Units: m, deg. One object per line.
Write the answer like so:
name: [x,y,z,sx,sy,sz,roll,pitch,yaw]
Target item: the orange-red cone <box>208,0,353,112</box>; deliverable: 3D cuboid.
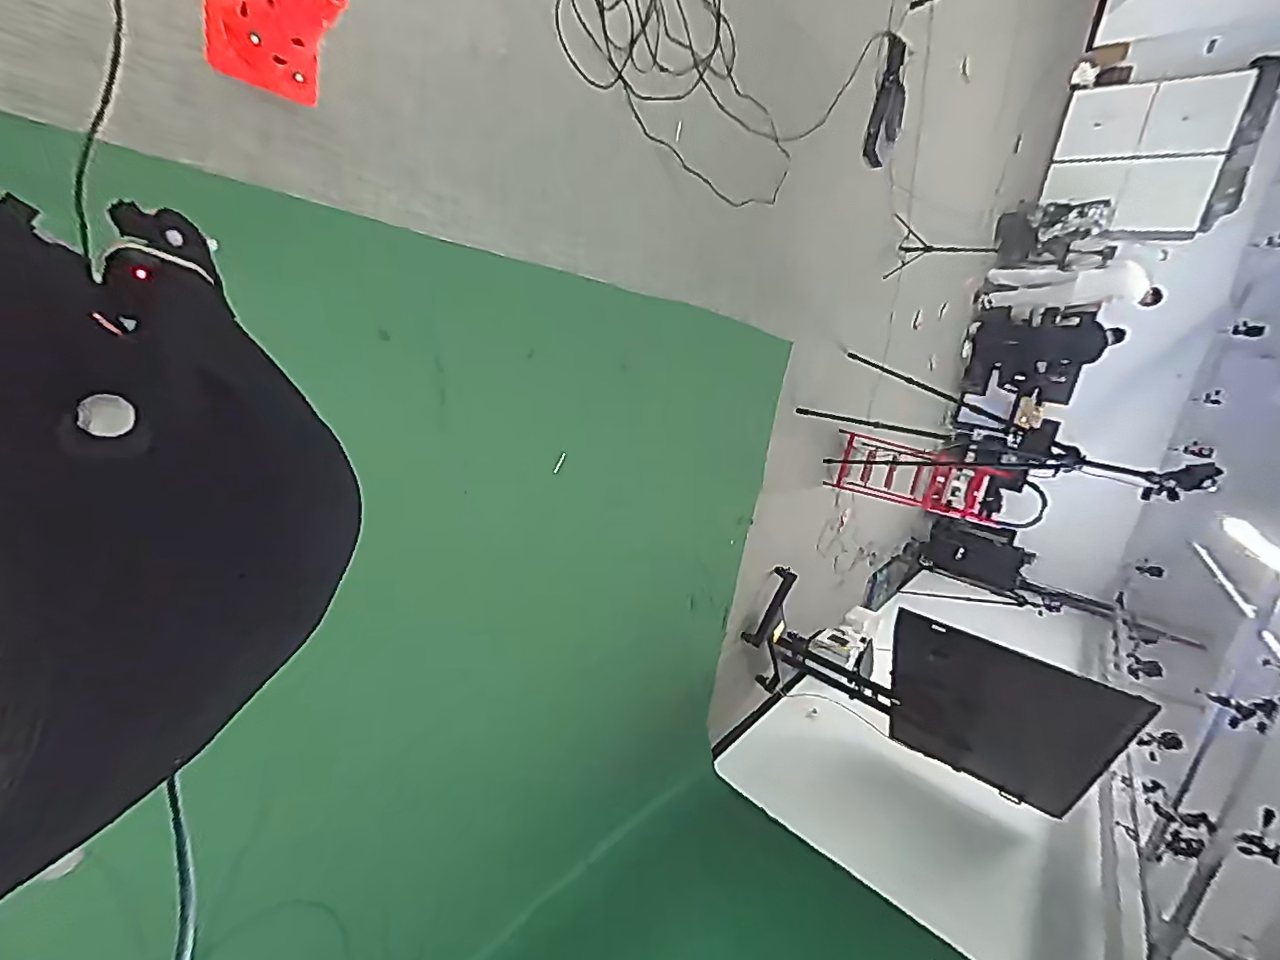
orange-red cone: [-0.638,-0.857,1.012,0.198,0.360,0.199,-7,111,-51]
